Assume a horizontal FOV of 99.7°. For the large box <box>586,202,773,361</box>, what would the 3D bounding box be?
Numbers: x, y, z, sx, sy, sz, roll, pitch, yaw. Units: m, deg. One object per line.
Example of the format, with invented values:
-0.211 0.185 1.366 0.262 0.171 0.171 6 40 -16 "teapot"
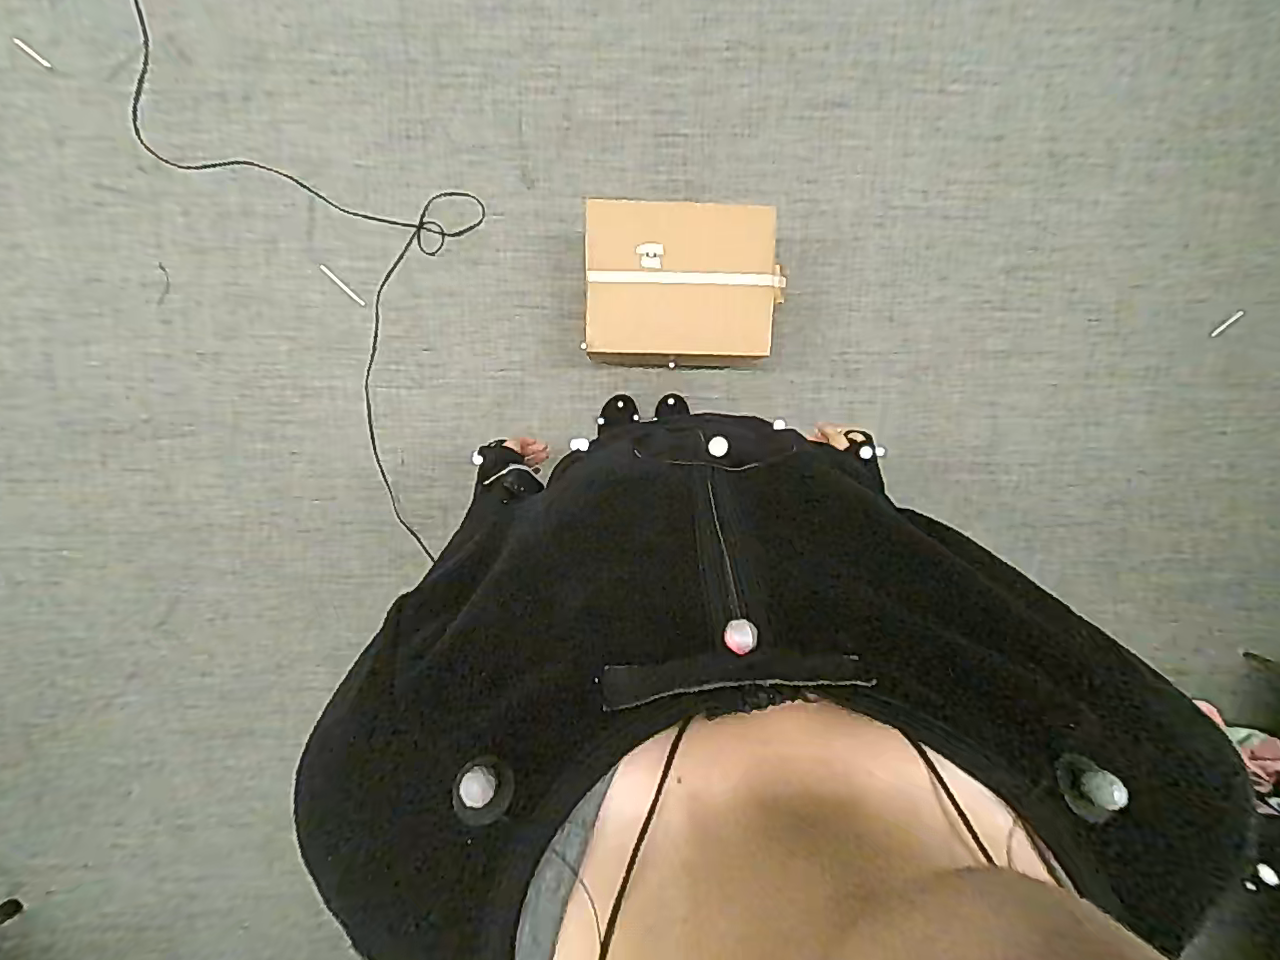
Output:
0.082 -0.453 1.307 0.408 0.320 0.320 1 97 -2 "large box"
